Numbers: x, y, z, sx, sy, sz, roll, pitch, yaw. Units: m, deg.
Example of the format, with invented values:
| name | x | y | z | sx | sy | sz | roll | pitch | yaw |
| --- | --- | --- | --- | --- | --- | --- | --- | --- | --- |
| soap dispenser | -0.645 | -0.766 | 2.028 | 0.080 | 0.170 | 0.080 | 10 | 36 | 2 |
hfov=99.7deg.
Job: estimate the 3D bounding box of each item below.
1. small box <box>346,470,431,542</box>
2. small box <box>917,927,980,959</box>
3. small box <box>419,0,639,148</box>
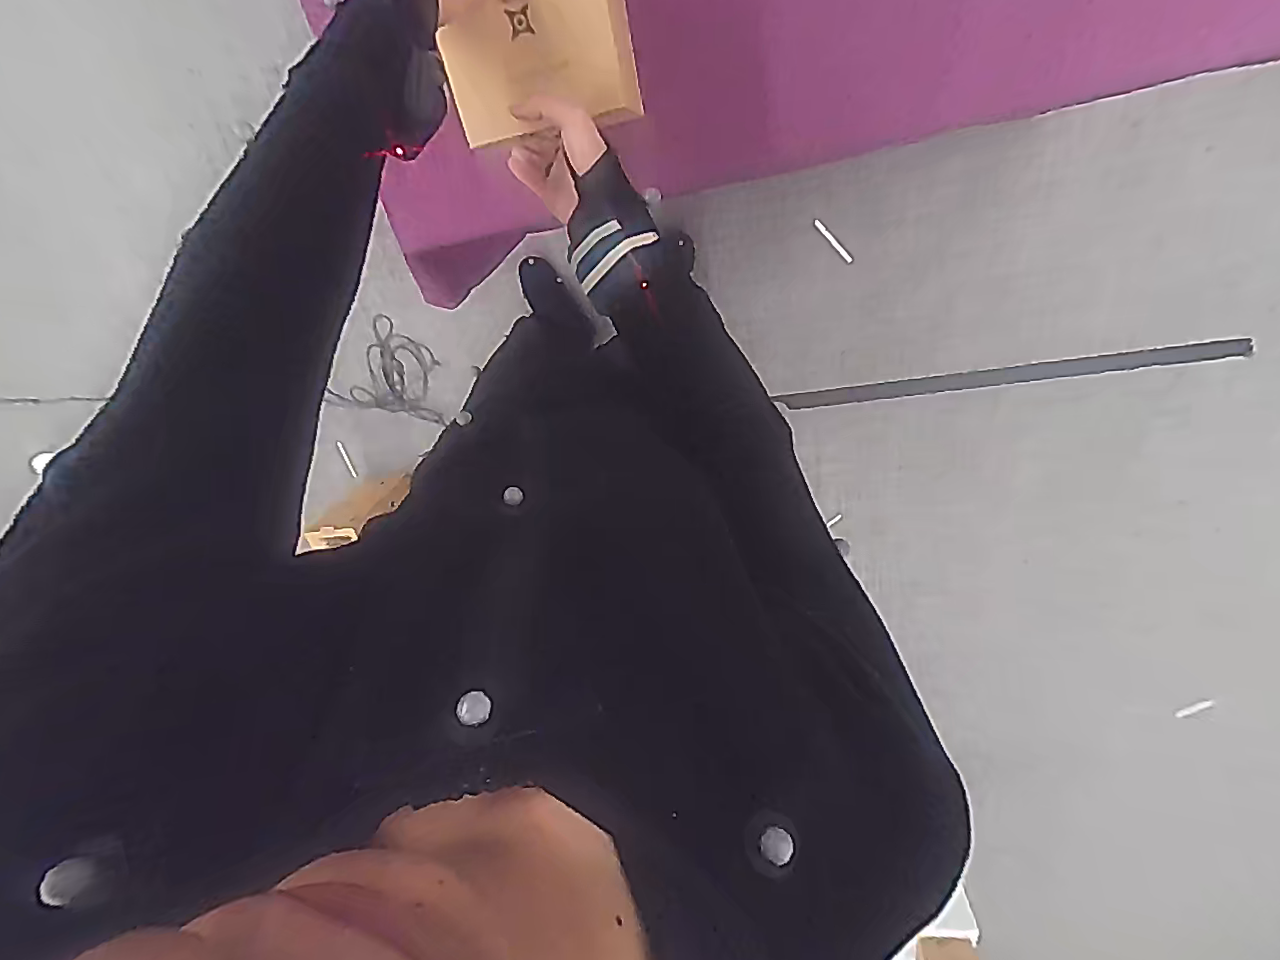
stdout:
| name | x | y | z | sx | sy | sz | roll | pitch | yaw |
| --- | --- | --- | --- | --- | --- | --- | --- | --- | --- |
| small box | -0.836 | 0.086 | 1.820 | 0.168 | 0.176 | 0.179 | -7 | 119 | 12 |
| small box | 1.030 | 1.619 | 1.783 | 0.168 | 0.176 | 0.179 | -6 | 120 | 11 |
| small box | -0.103 | -0.452 | 0.546 | 0.168 | 0.176 | 0.179 | -6 | 121 | 12 |
